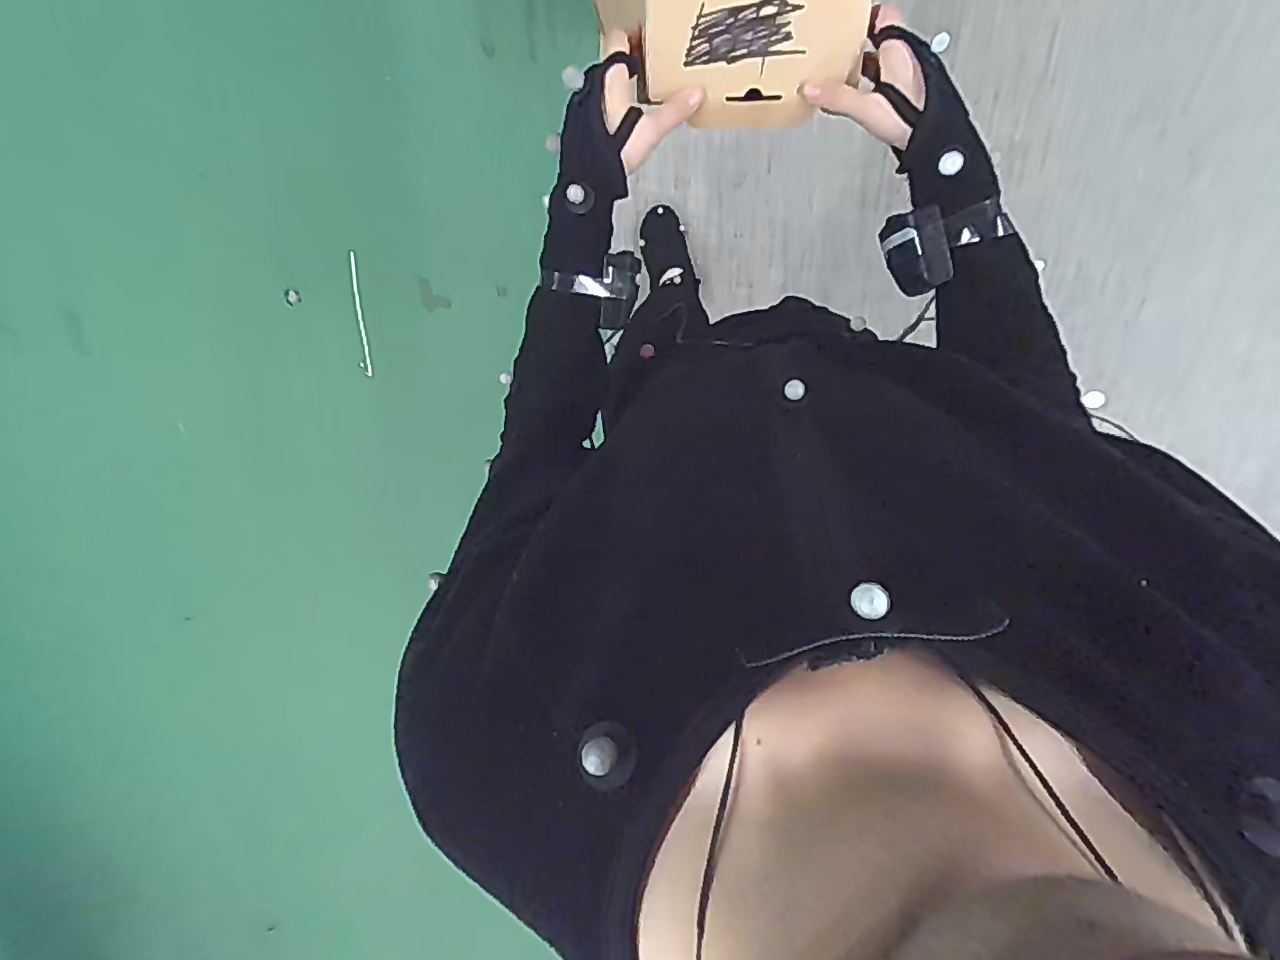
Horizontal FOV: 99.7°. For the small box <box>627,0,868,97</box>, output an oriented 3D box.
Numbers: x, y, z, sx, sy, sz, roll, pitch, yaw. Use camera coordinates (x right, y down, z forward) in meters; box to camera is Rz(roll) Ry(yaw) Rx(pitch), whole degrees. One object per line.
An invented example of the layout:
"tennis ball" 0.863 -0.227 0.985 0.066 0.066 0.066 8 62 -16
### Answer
"small box" 0.077 -0.414 0.429 0.168 0.176 0.179 -4 124 -3
